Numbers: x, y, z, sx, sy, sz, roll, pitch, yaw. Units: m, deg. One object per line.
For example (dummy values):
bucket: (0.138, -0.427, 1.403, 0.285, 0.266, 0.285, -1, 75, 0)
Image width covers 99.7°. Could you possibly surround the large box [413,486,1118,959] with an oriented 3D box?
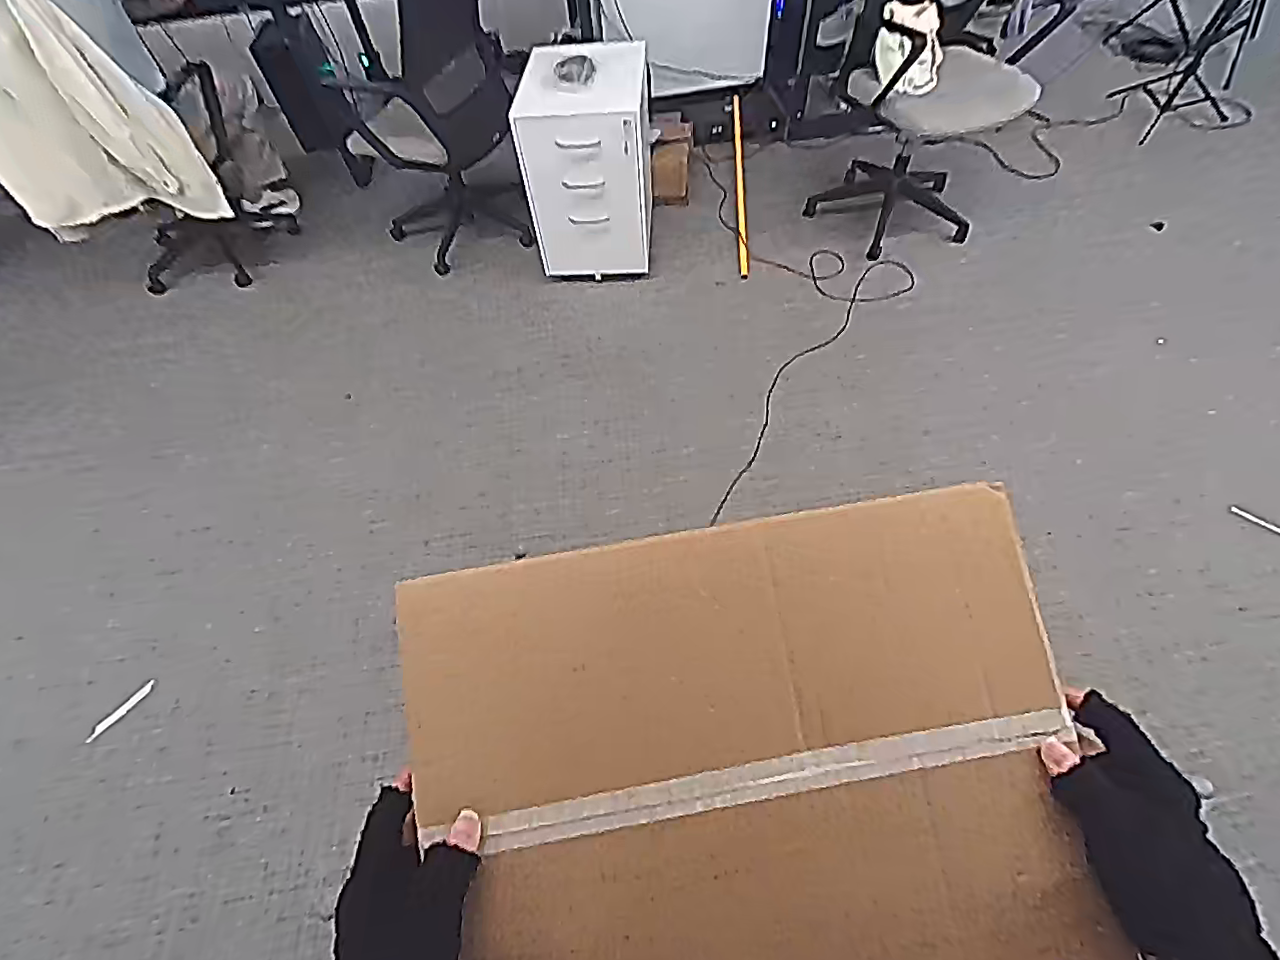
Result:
large box: (0.067, 0.212, 0.489, 0.408, 0.320, 0.320, -10, 82, -1)
